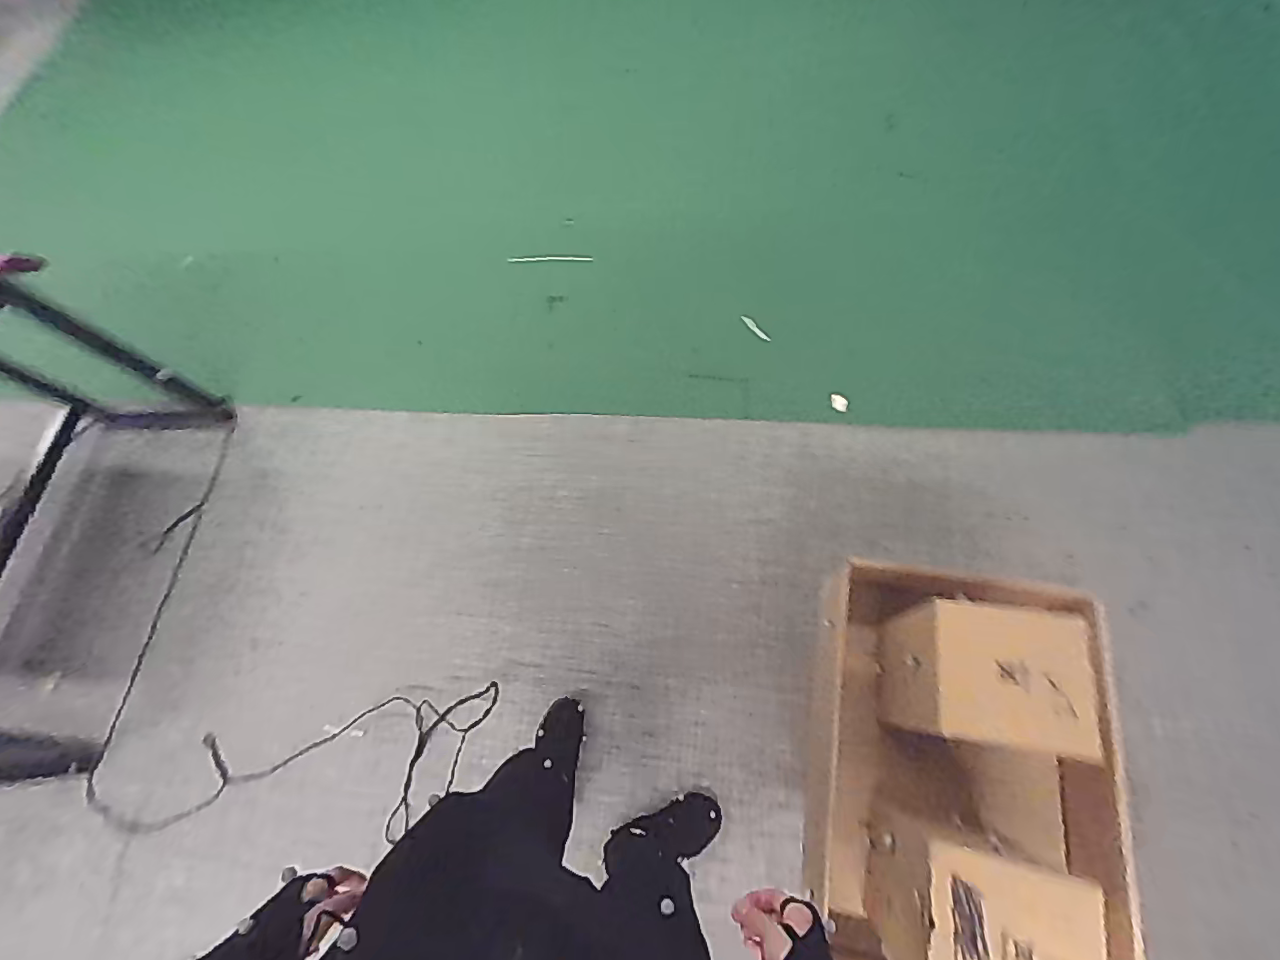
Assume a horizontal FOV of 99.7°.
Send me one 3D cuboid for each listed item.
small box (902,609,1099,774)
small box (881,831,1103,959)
[{"bbox_3d":[0.469,0.284,0.737,0.179,0.176,0.168,6,70,12],"label":"small box"},{"bbox_3d":[0.402,0.543,0.644,0.179,0.176,0.168,11,70,12],"label":"small box"}]
